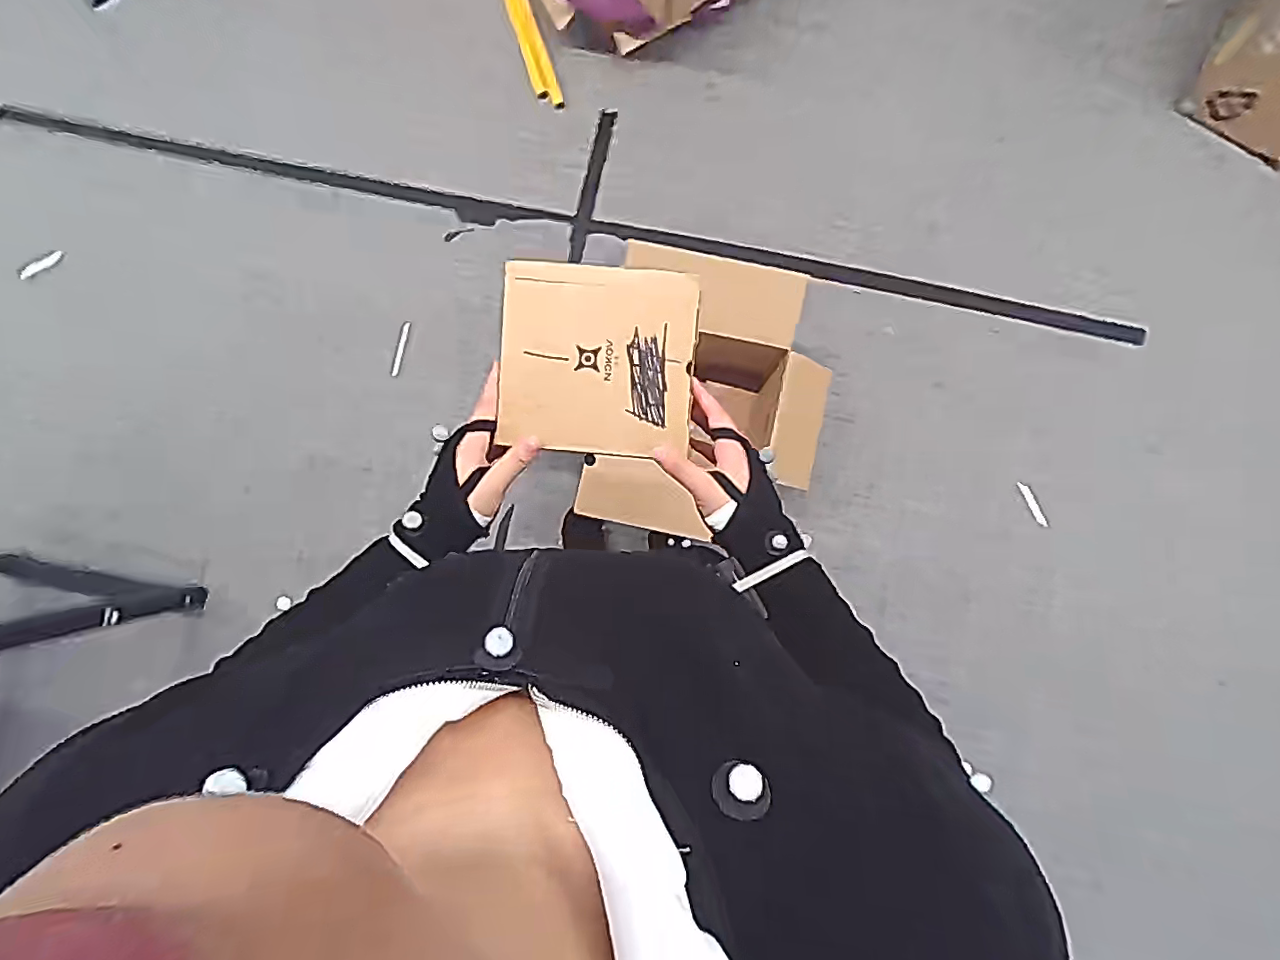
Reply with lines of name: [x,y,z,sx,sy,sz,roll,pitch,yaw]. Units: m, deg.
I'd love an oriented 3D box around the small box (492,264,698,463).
small box: [-0.039,-0.110,0.561,0.179,0.176,0.168,4,95,2]
